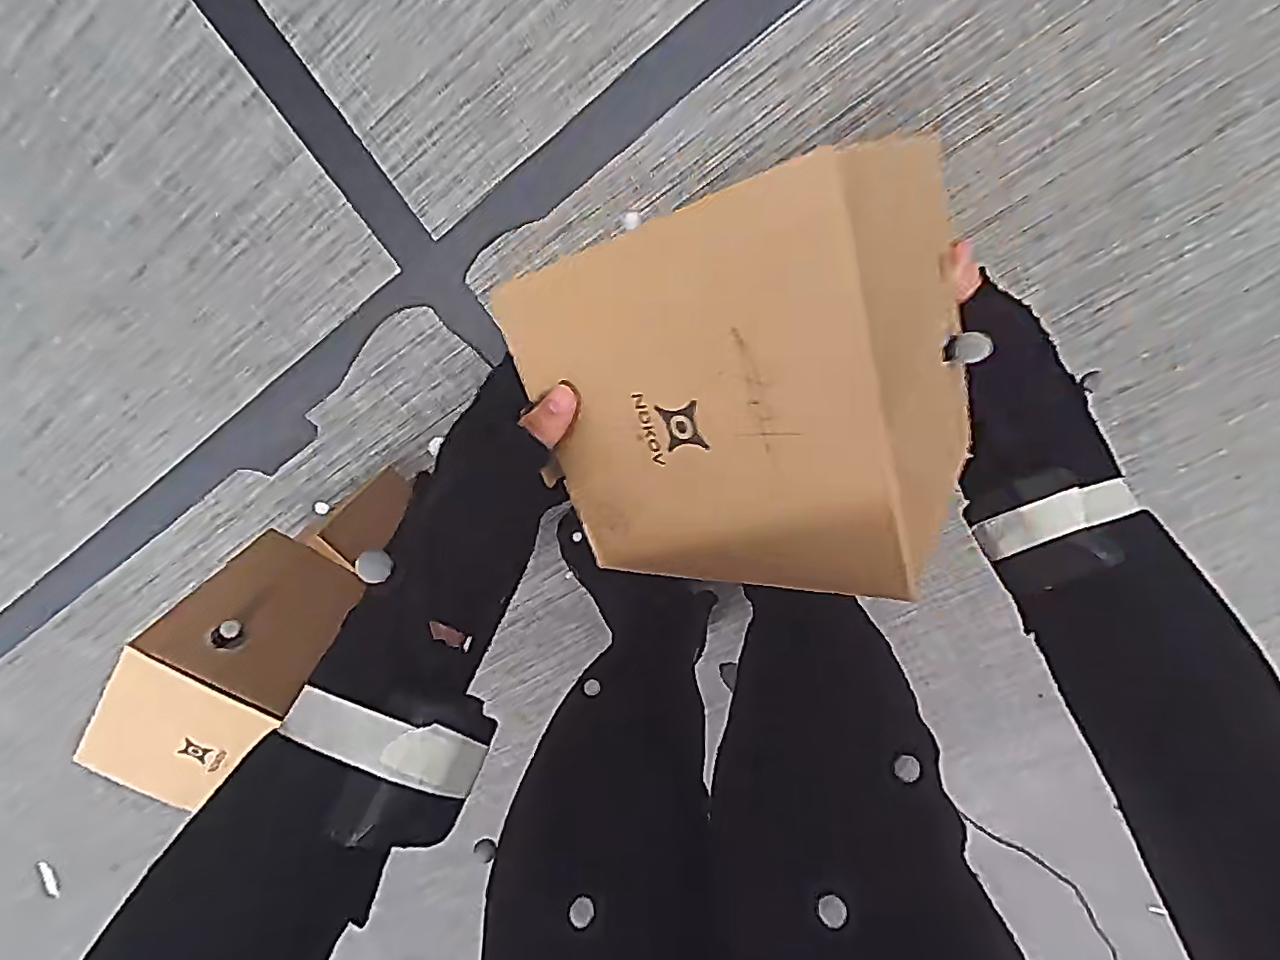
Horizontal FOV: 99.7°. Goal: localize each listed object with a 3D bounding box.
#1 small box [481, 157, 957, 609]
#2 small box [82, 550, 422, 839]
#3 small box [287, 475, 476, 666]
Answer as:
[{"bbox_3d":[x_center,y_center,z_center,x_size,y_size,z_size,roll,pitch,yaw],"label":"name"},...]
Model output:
[{"bbox_3d":[0.054,-0.055,0.298,0.179,0.176,0.168,-3,115,41],"label":"small box"},{"bbox_3d":[-0.350,0.193,0.520,0.179,0.176,0.168,38,113,-18],"label":"small box"},{"bbox_3d":[-0.335,0.126,0.671,0.168,0.176,0.179,-32,111,16],"label":"small box"}]
